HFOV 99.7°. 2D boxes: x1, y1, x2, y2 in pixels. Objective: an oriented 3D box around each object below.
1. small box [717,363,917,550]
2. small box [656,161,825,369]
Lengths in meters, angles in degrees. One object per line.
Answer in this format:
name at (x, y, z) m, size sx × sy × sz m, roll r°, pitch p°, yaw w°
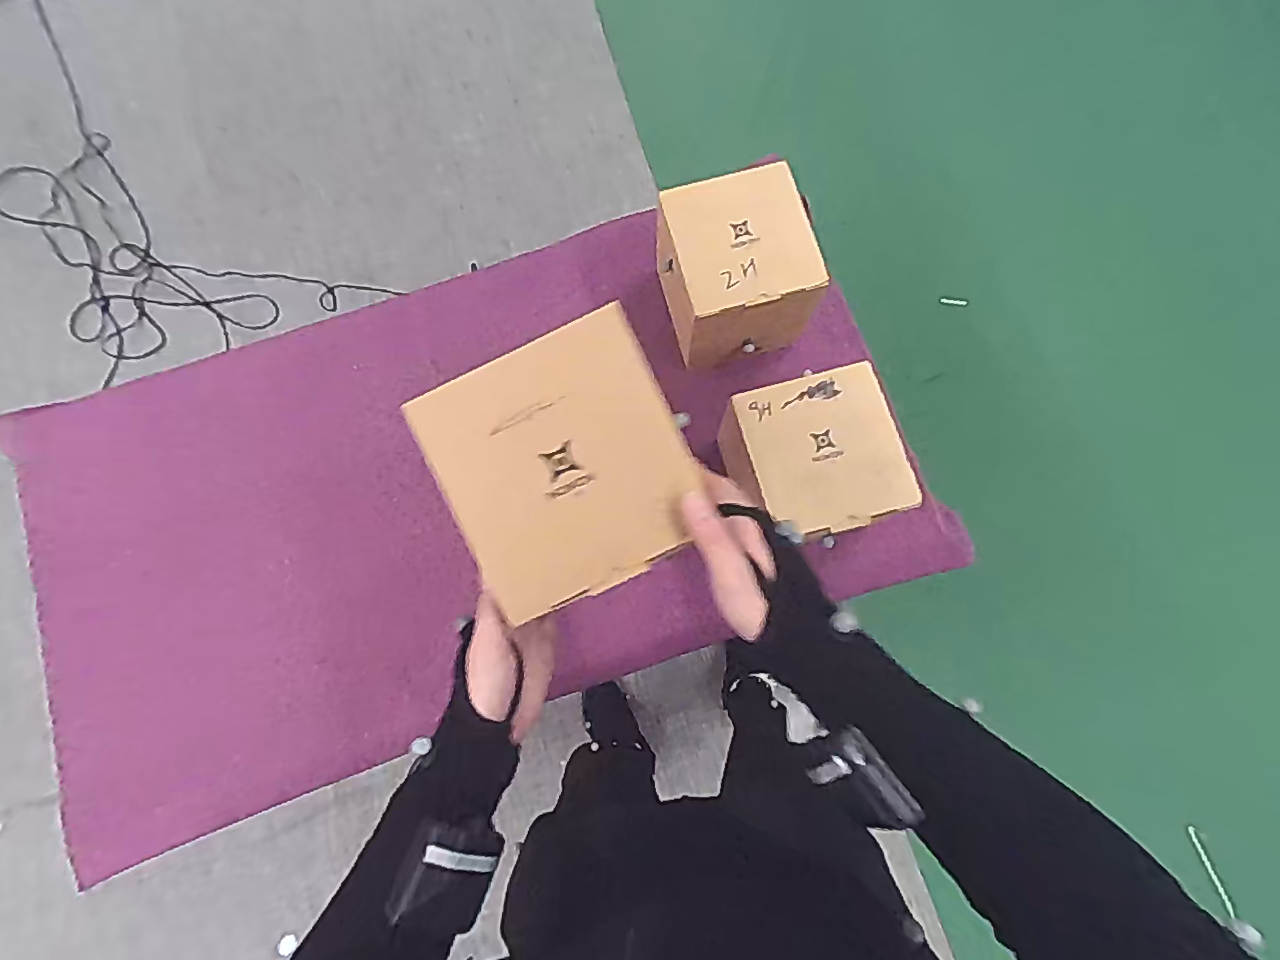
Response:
small box at (0.201, -0.015, 0.667) m, size 0.168 × 0.176 × 0.179 m, roll -14°, pitch 78°, yaw -1°
small box at (0.119, -0.274, 0.720) m, size 0.168 × 0.176 × 0.179 m, roll -15°, pitch 80°, yaw 0°
